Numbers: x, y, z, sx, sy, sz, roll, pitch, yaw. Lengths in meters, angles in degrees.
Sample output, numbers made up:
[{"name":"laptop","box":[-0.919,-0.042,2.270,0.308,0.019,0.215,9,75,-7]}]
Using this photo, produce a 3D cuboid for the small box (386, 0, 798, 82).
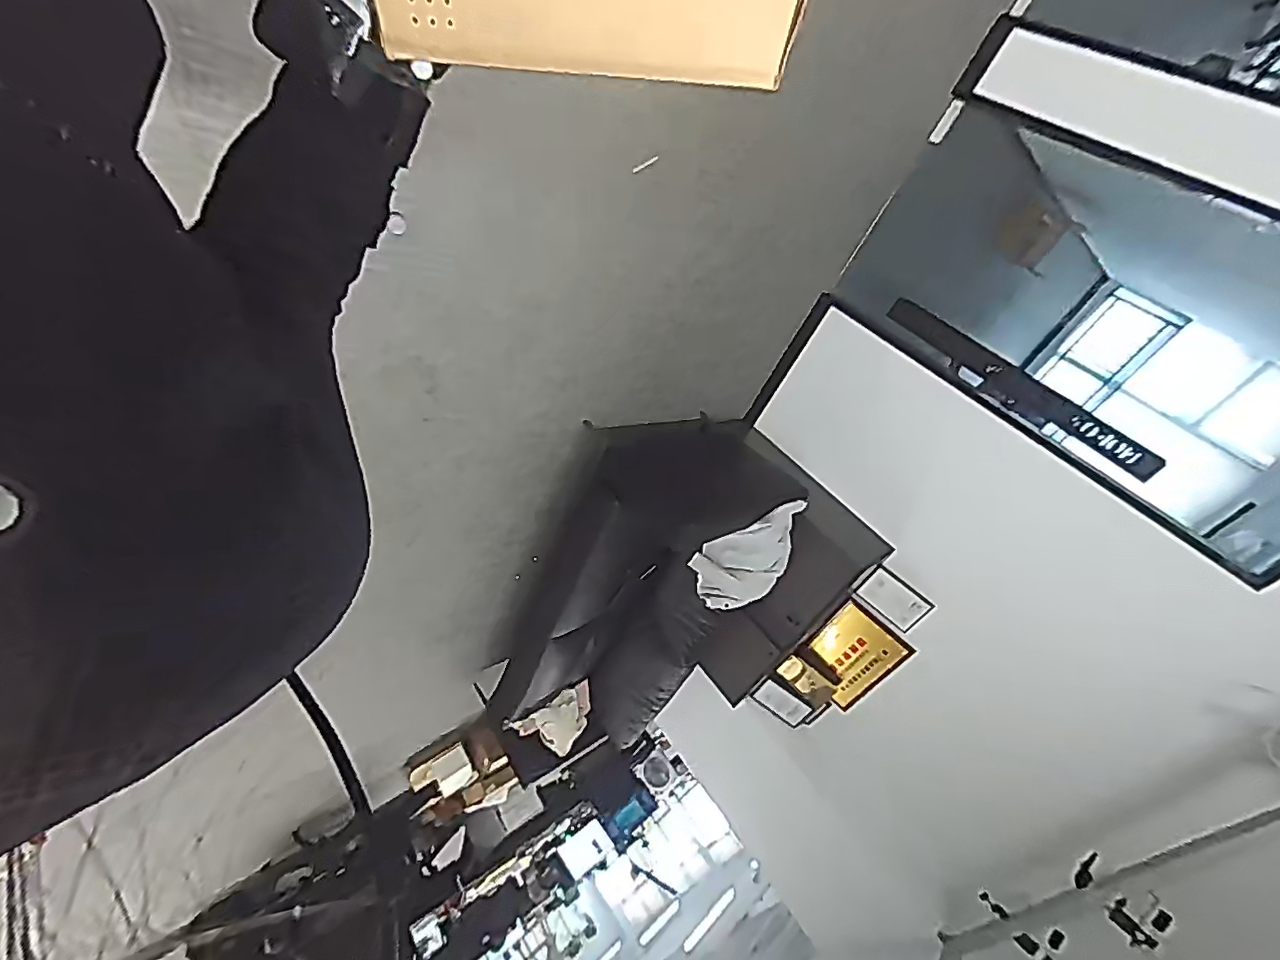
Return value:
[{"name":"small box","box":[-0.025,-0.288,0.209,0.176,0.168,0.179,-4,148,-9]}]
